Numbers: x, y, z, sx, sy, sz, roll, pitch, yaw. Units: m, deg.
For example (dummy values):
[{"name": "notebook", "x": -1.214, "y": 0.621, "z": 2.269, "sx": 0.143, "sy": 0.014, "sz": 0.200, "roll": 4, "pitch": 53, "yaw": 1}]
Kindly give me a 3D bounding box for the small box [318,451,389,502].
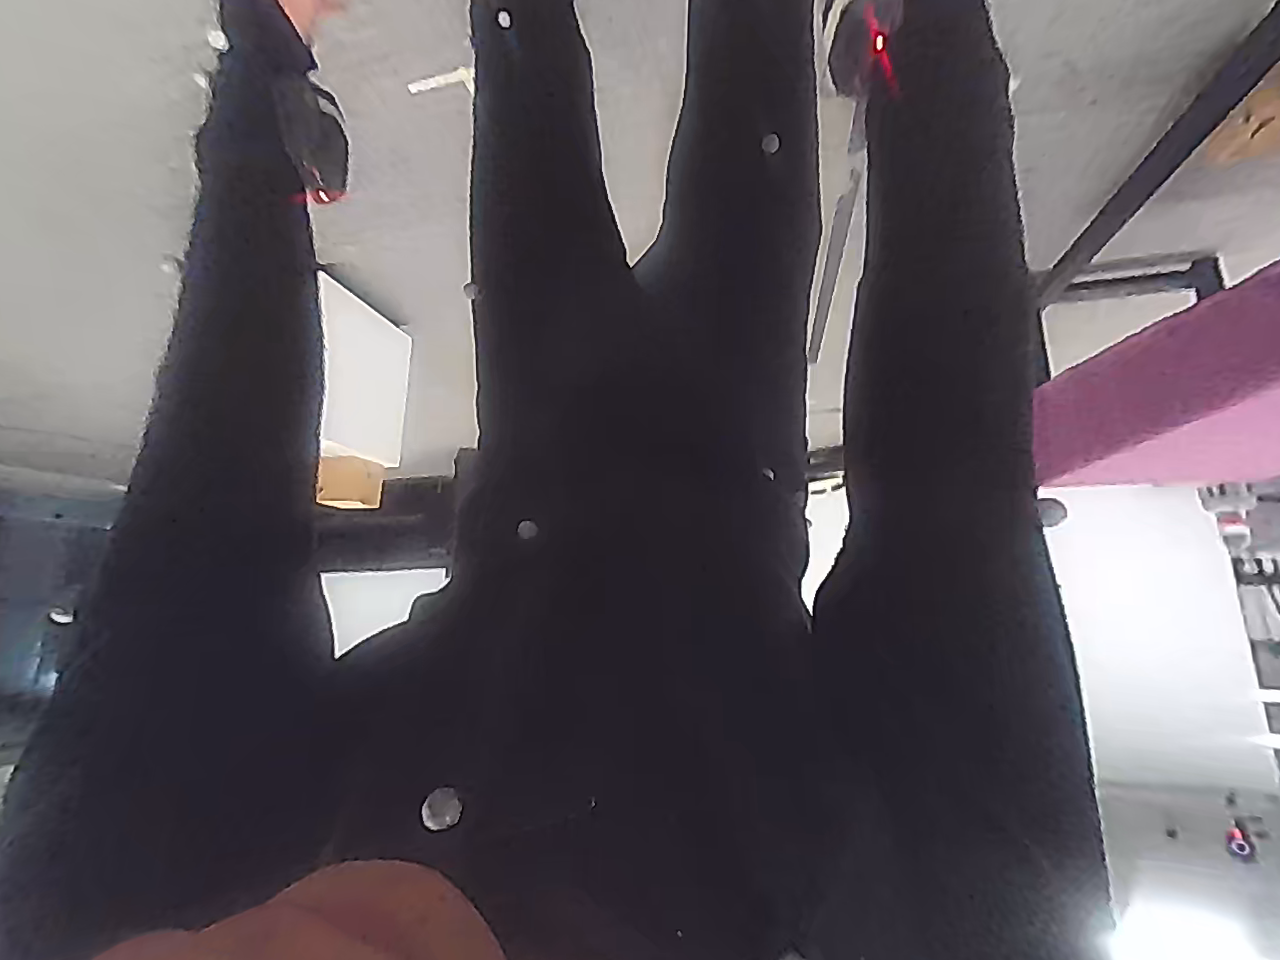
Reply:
[{"name": "small box", "x": -1.097, "y": -0.012, "z": 2.087, "sx": 0.179, "sy": 0.176, "sz": 0.168, "roll": -1, "pitch": 169, "yaw": 13}]
